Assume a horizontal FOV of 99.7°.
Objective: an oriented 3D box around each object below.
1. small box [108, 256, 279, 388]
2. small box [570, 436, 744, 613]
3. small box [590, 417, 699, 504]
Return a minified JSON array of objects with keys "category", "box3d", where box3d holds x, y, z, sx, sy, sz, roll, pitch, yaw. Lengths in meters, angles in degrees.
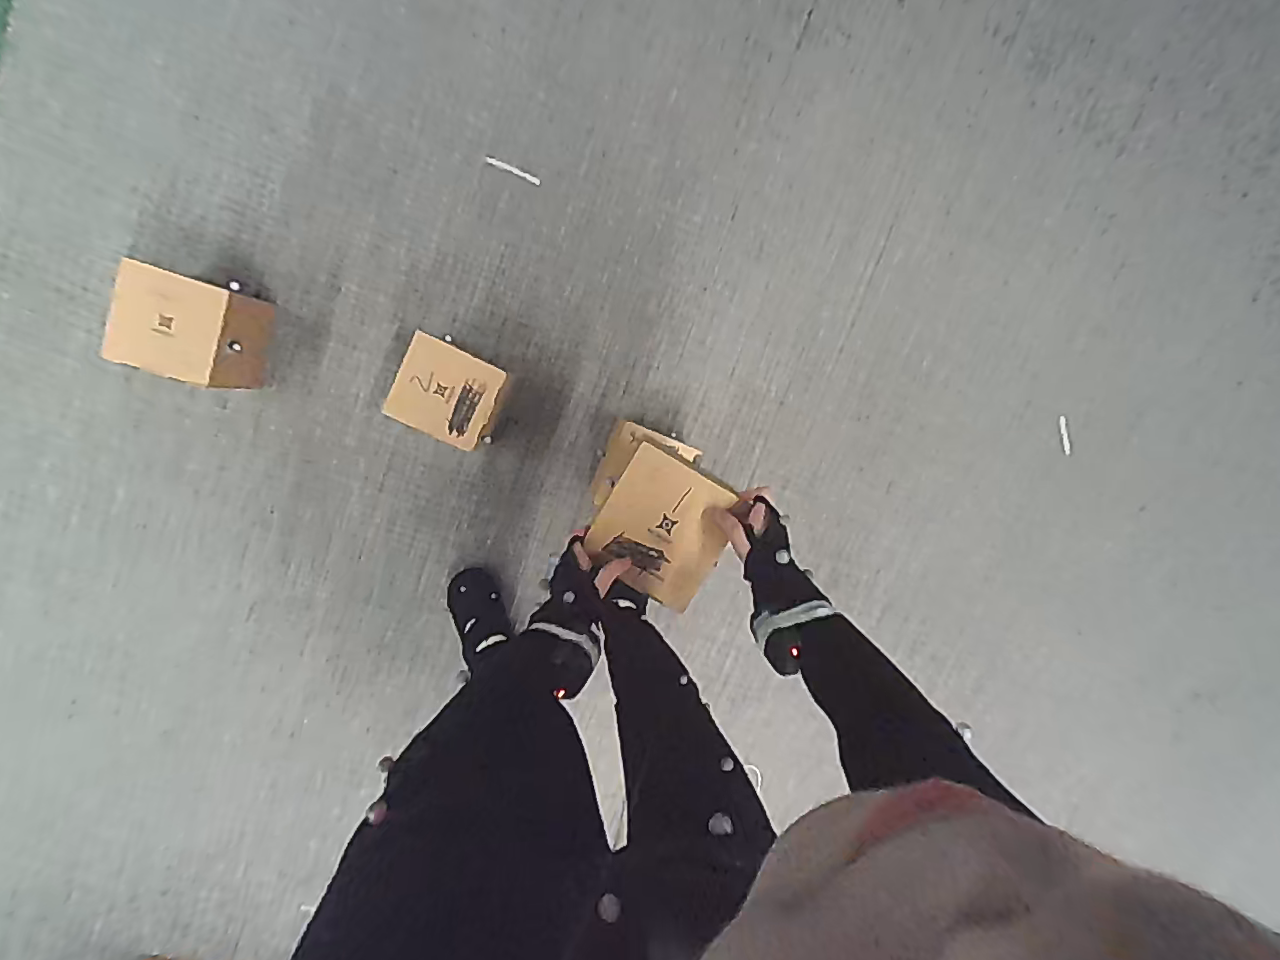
[{"category":"small box","box3d":[-0.803,-0.276,0.992,0.168,0.176,0.179,18,96,-10]},{"category":"small box","box3d":[0.024,0.051,0.770,0.168,0.176,0.179,31,96,-3]},{"category":"small box","box3d":[0.002,-0.020,1.131,0.168,0.176,0.179,22,96,-10]}]
